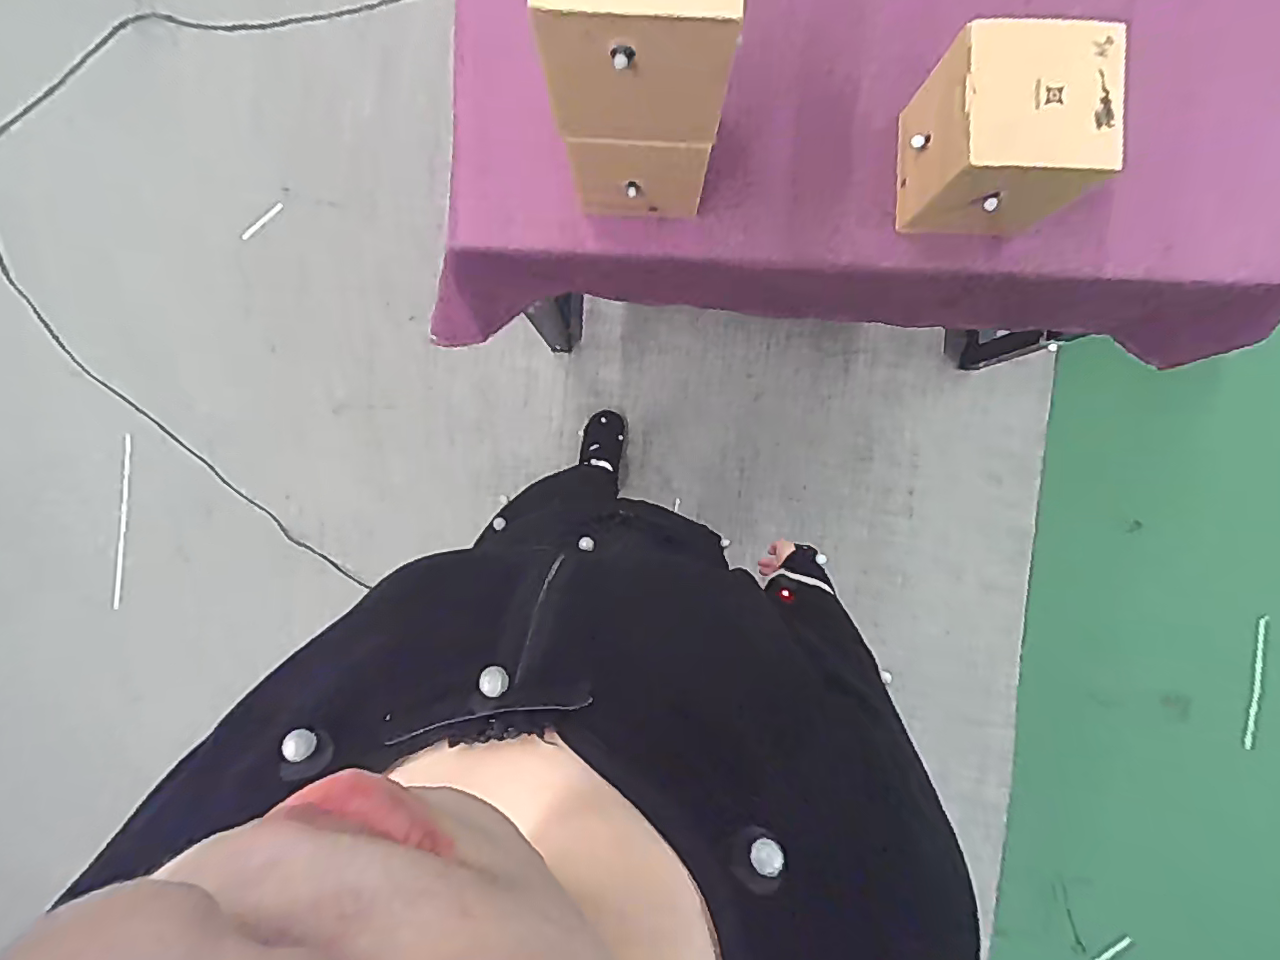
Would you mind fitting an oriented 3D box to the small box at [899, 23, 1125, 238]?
[{"bbox_3d":[0.447,-0.421,0.678,0.179,0.176,0.168,2,91,1],"label":"small box"}]

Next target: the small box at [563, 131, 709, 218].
[{"bbox_3d":[0.001,-0.454,0.679,0.168,0.176,0.179,3,90,-1],"label":"small box"}]

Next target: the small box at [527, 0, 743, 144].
[{"bbox_3d":[0.000,-0.452,0.514,0.179,0.176,0.168,3,91,-1],"label":"small box"}]
